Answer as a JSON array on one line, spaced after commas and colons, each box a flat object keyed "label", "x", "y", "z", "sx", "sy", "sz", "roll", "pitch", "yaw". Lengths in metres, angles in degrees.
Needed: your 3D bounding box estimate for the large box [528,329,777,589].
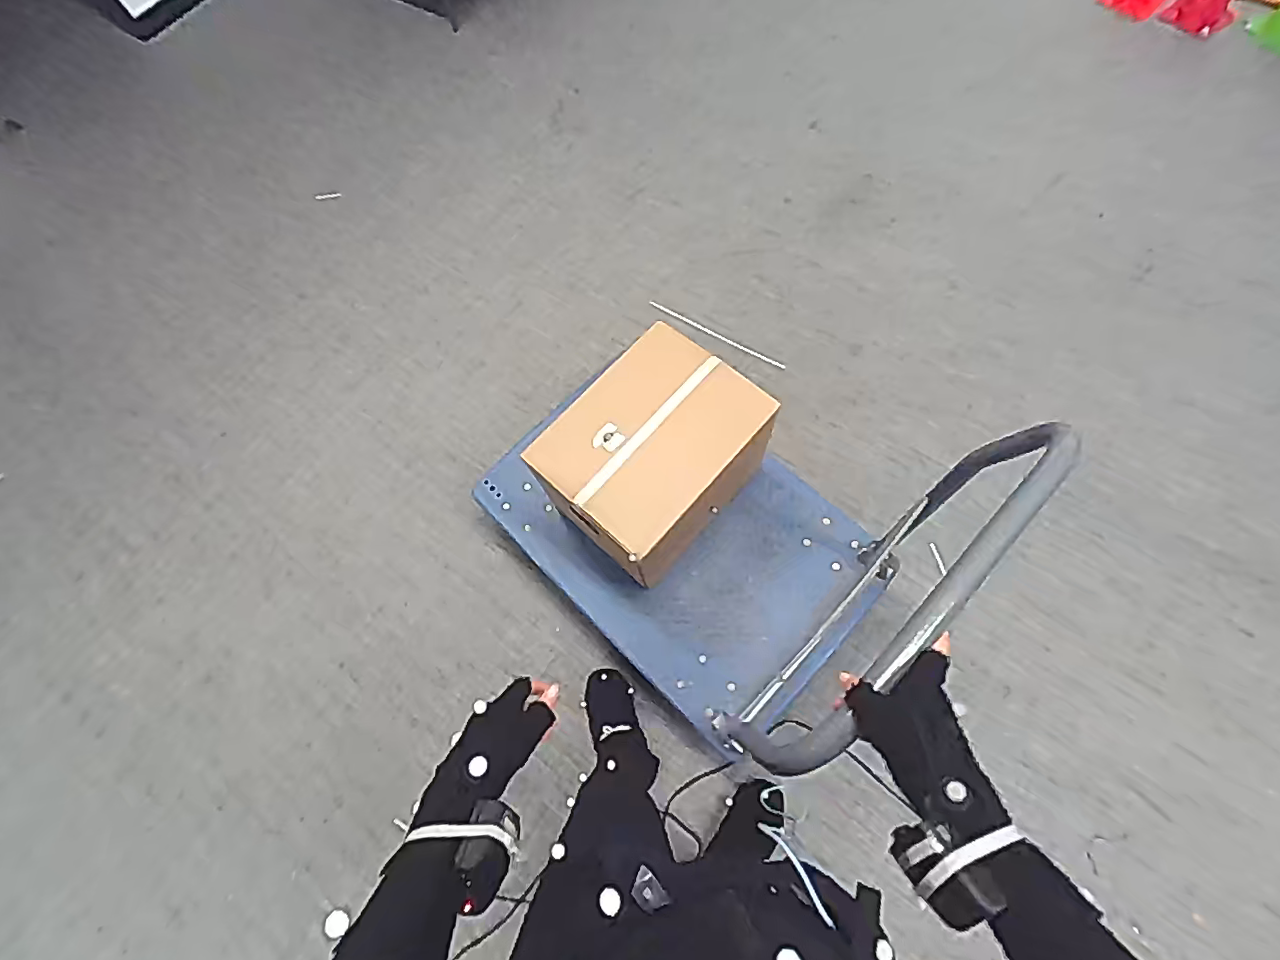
[{"label": "large box", "x": 0.037, "y": -0.031, "z": 1.170, "sx": 0.320, "sy": 0.320, "sz": 0.408, "roll": 39, "pitch": 78, "yaw": 18}]
